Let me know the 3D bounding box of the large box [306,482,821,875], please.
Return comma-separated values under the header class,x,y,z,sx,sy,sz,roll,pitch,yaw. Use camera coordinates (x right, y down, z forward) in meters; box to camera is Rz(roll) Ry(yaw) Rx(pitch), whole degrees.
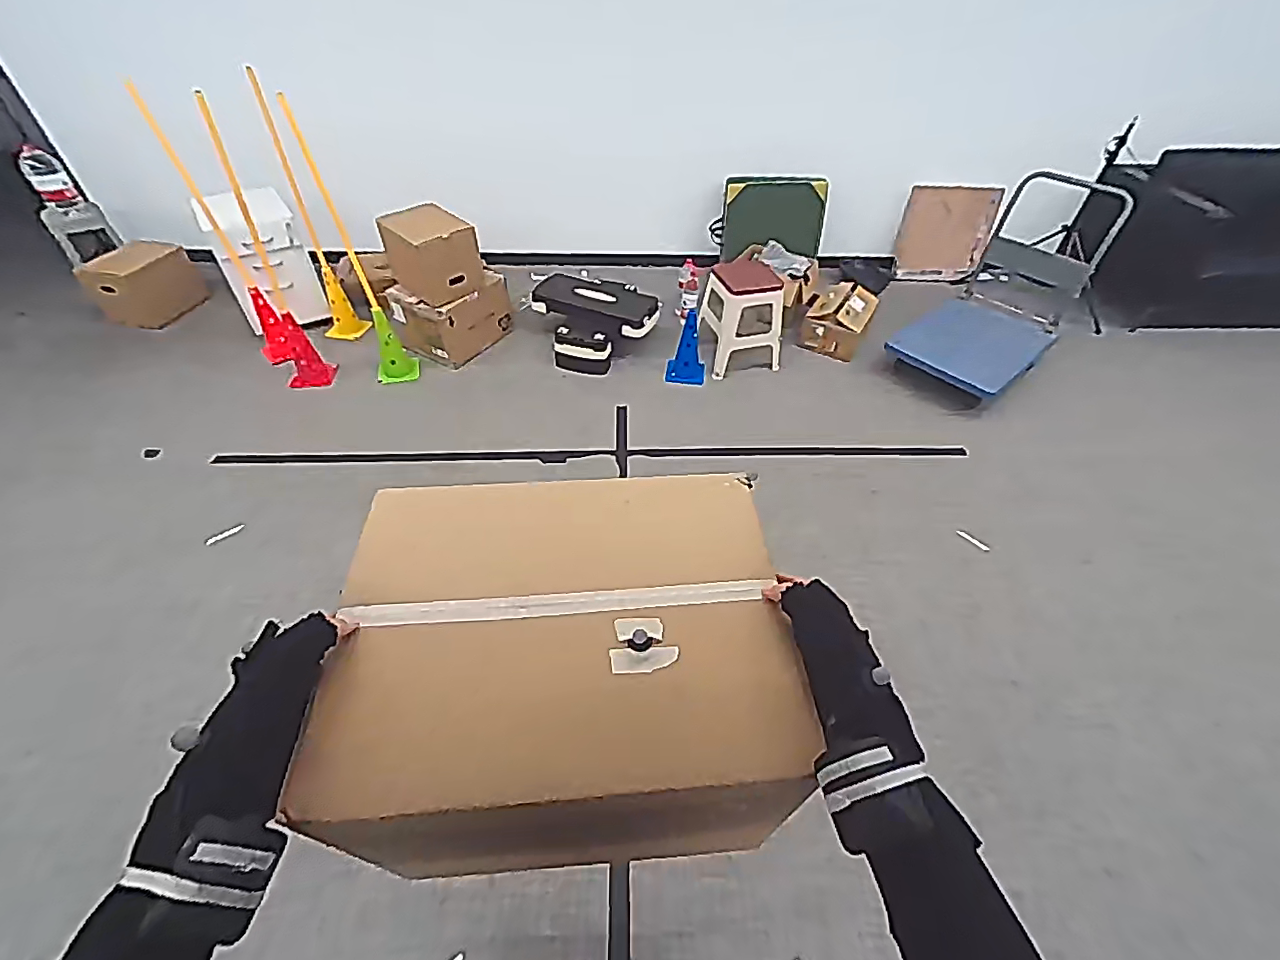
class,x,y,z,sx,sy,sz,roll,pitch,yaw
large box,-0.069,0.225,0.621,0.408,0.320,0.320,-2,48,-4
